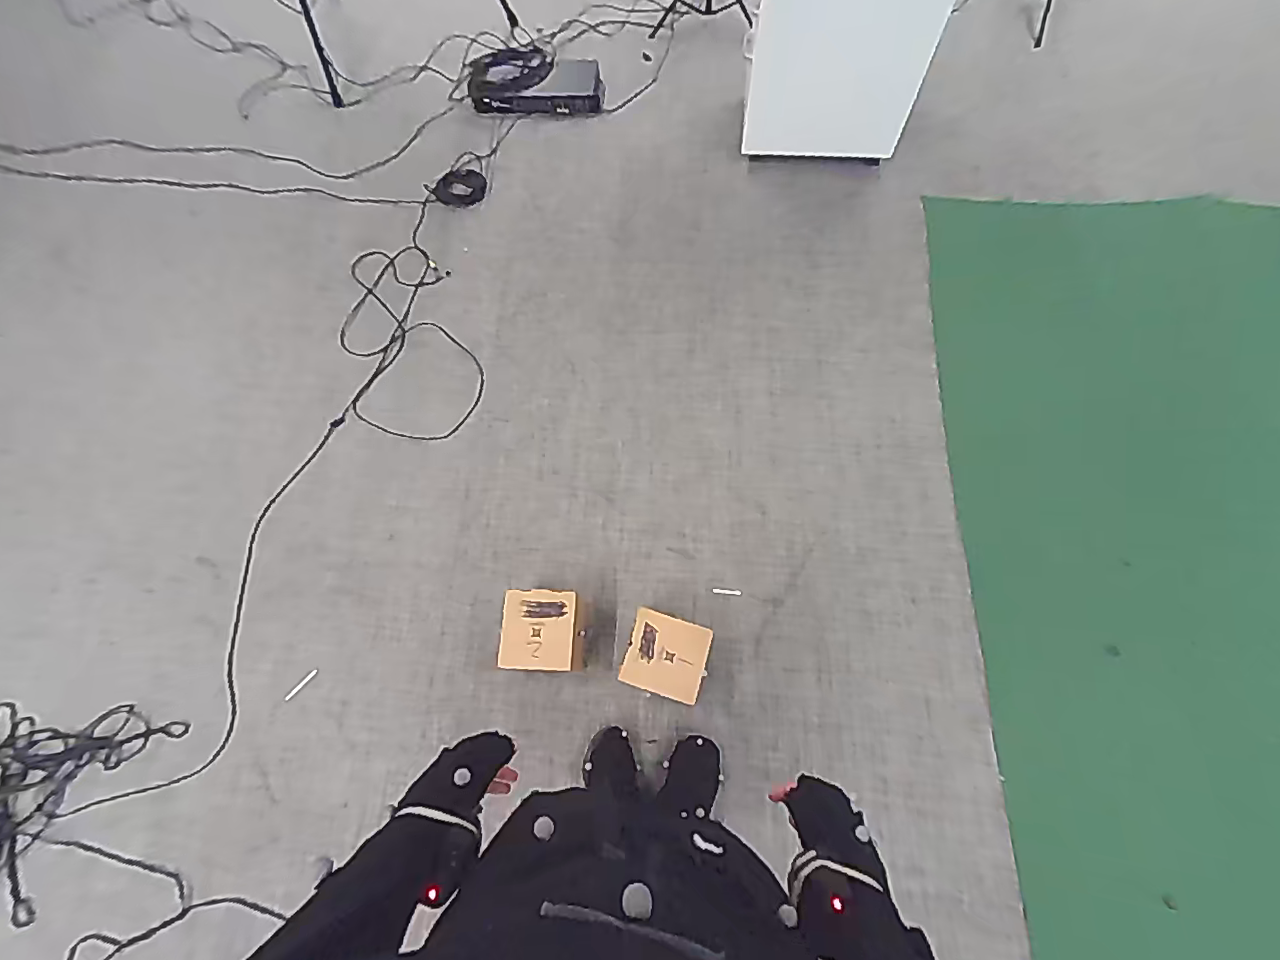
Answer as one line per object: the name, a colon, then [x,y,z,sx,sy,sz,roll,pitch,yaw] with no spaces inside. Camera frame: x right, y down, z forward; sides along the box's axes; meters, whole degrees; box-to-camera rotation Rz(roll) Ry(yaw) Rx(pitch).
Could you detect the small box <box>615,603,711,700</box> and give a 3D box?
small box: [0.055,0.403,1.261,0.179,0.176,0.168,17,71,7]
